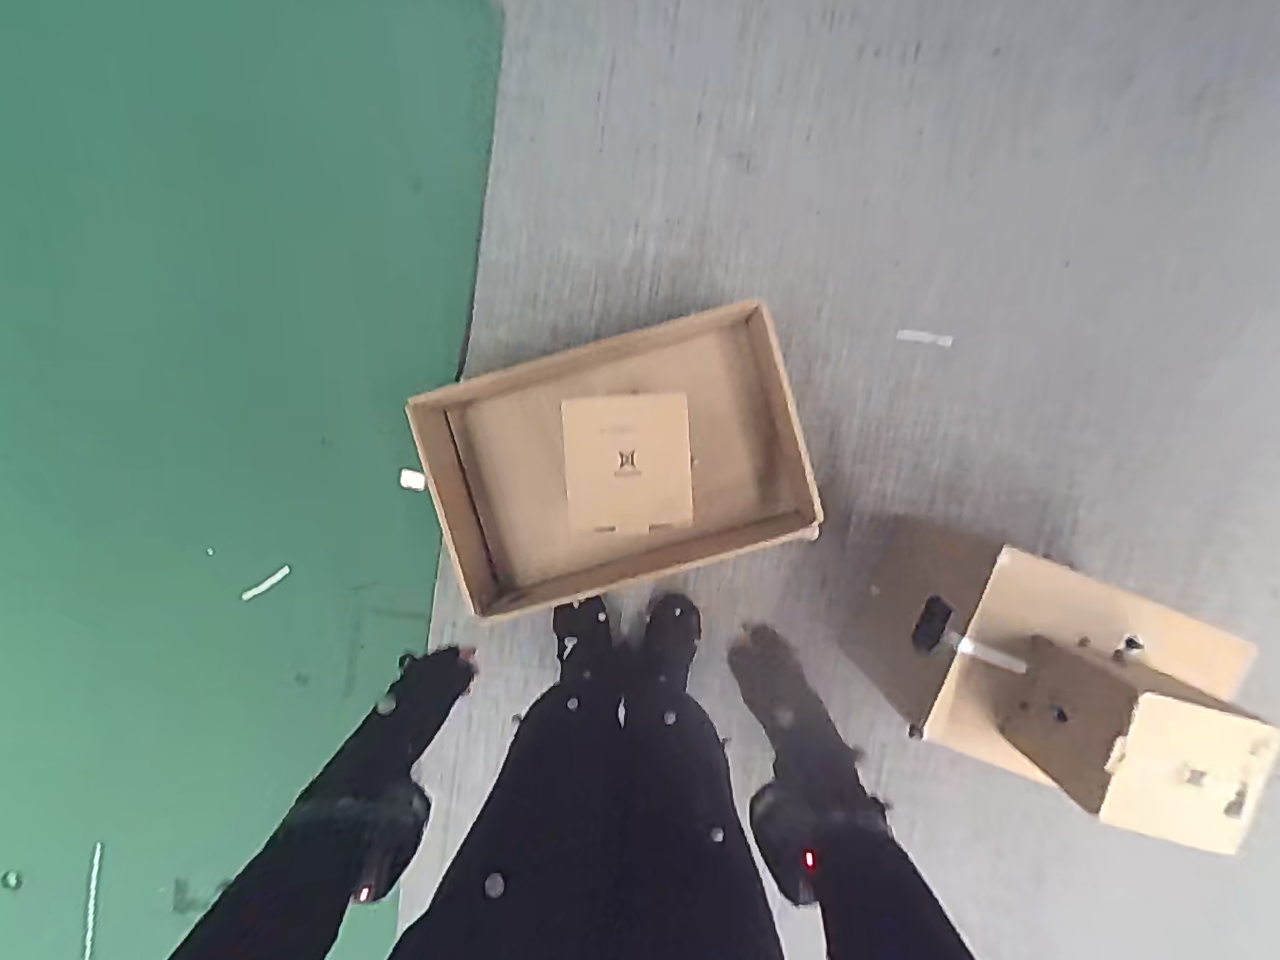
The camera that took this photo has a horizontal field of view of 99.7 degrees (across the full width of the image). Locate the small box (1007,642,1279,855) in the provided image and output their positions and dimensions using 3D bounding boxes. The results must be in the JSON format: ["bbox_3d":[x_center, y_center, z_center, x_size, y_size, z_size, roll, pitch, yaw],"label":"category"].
[{"bbox_3d":[0.631,0.332,0.705,0.179,0.176,0.168,16,96,0],"label":"small box"}]

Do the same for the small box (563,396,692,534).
[{"bbox_3d":[-0.013,-0.024,0.787,0.168,0.176,0.179,-4,92,1],"label":"small box"}]
